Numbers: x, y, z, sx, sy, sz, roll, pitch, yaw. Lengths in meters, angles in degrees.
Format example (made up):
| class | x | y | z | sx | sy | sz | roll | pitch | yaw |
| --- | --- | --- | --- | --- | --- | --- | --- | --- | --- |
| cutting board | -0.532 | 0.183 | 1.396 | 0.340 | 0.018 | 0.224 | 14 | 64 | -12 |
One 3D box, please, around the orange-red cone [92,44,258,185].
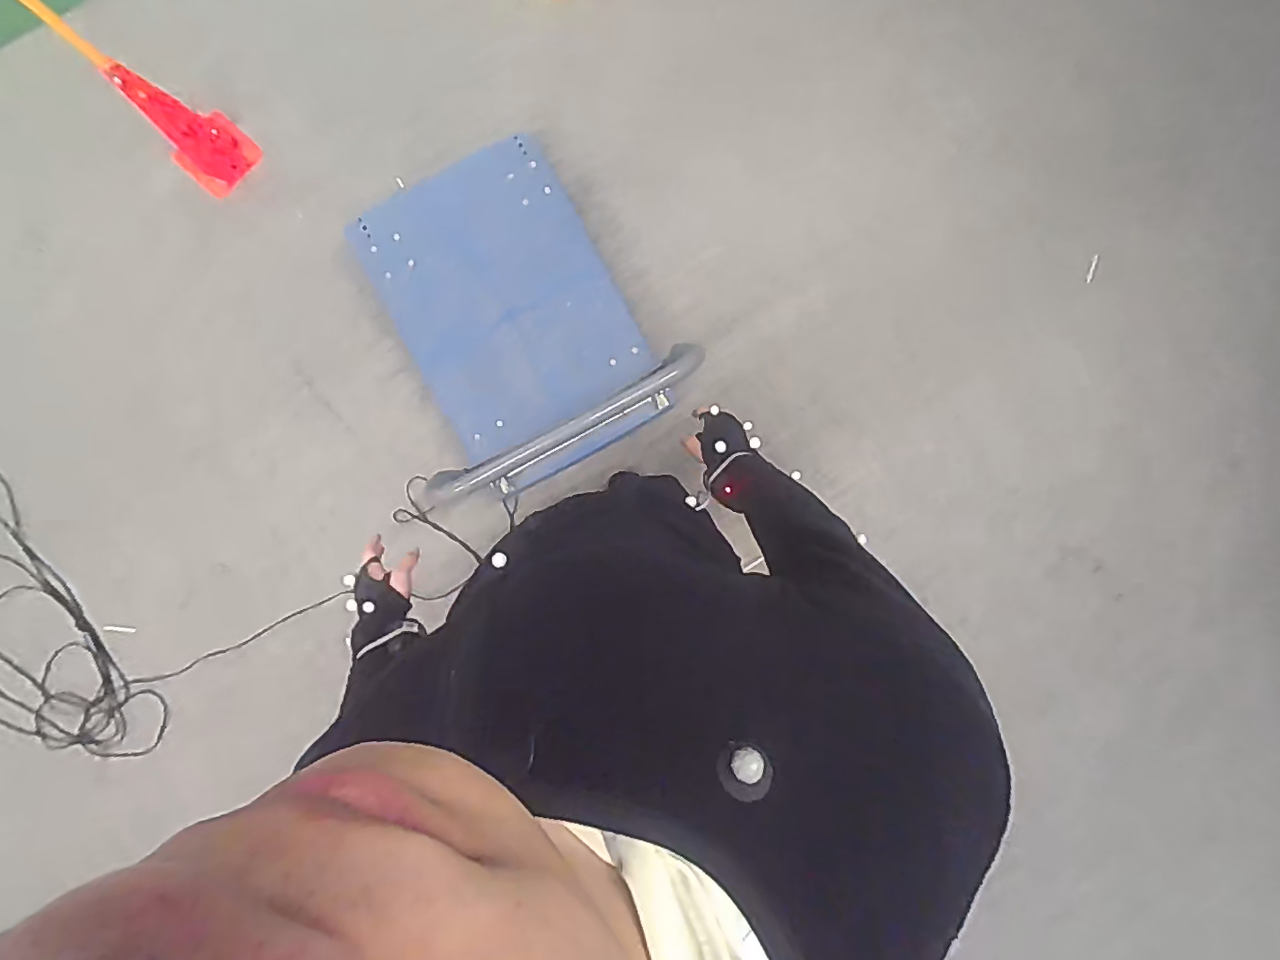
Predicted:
| class | x | y | z | sx | sy | sz | roll | pitch | yaw |
| --- | --- | --- | --- | --- | --- | --- | --- | --- | --- |
| orange-red cone | -1.263 | -1.000 | 1.437 | 0.198 | 0.360 | 0.199 | 44 | 91 | 0 |
